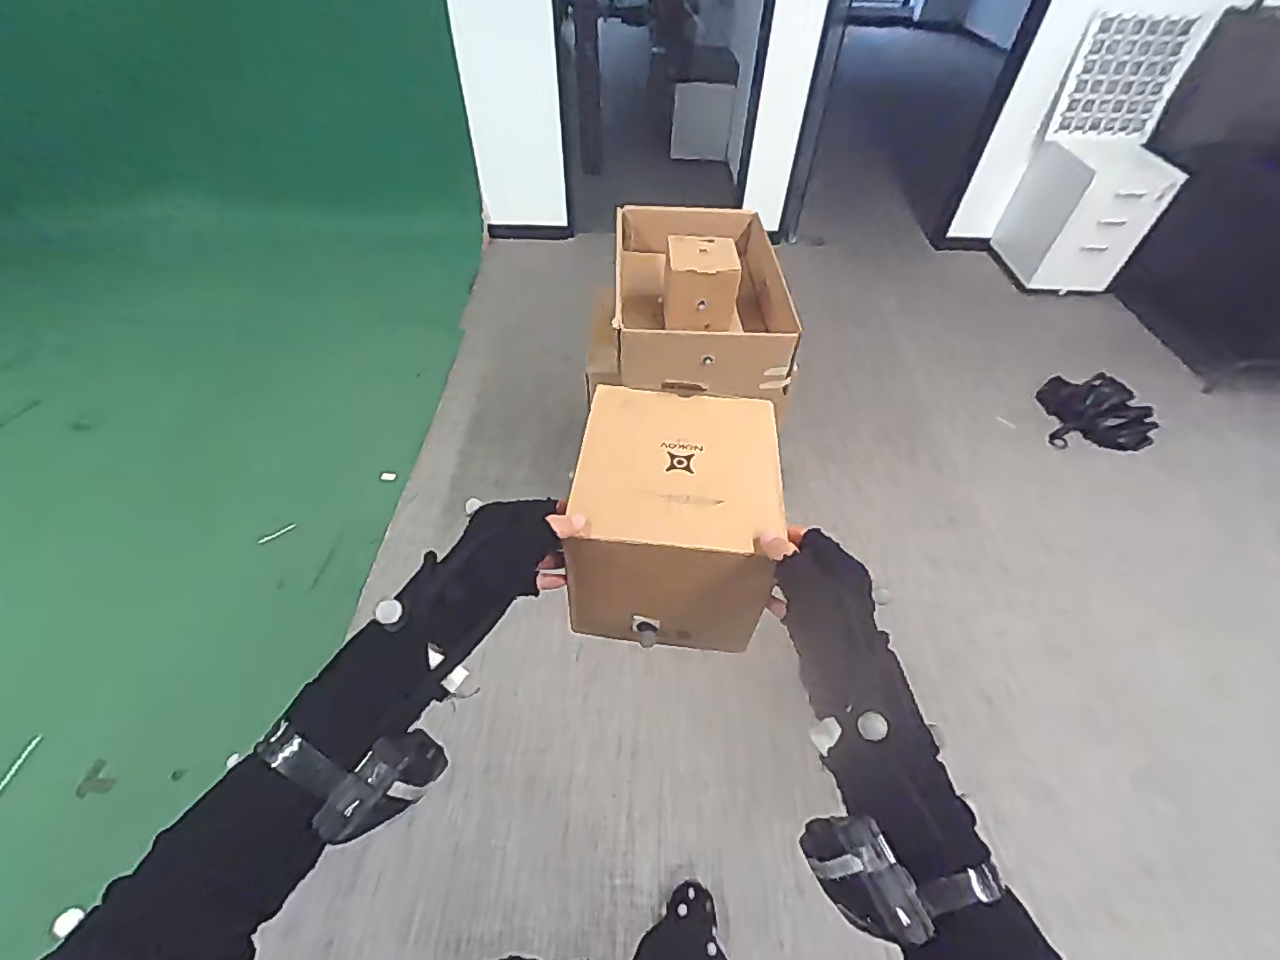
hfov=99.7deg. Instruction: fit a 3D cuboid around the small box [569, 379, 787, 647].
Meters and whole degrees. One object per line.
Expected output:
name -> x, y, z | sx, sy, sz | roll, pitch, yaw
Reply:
small box -> 0.031, 0.032, 0.509 | 0.168, 0.176, 0.179 | 6, 49, 2
